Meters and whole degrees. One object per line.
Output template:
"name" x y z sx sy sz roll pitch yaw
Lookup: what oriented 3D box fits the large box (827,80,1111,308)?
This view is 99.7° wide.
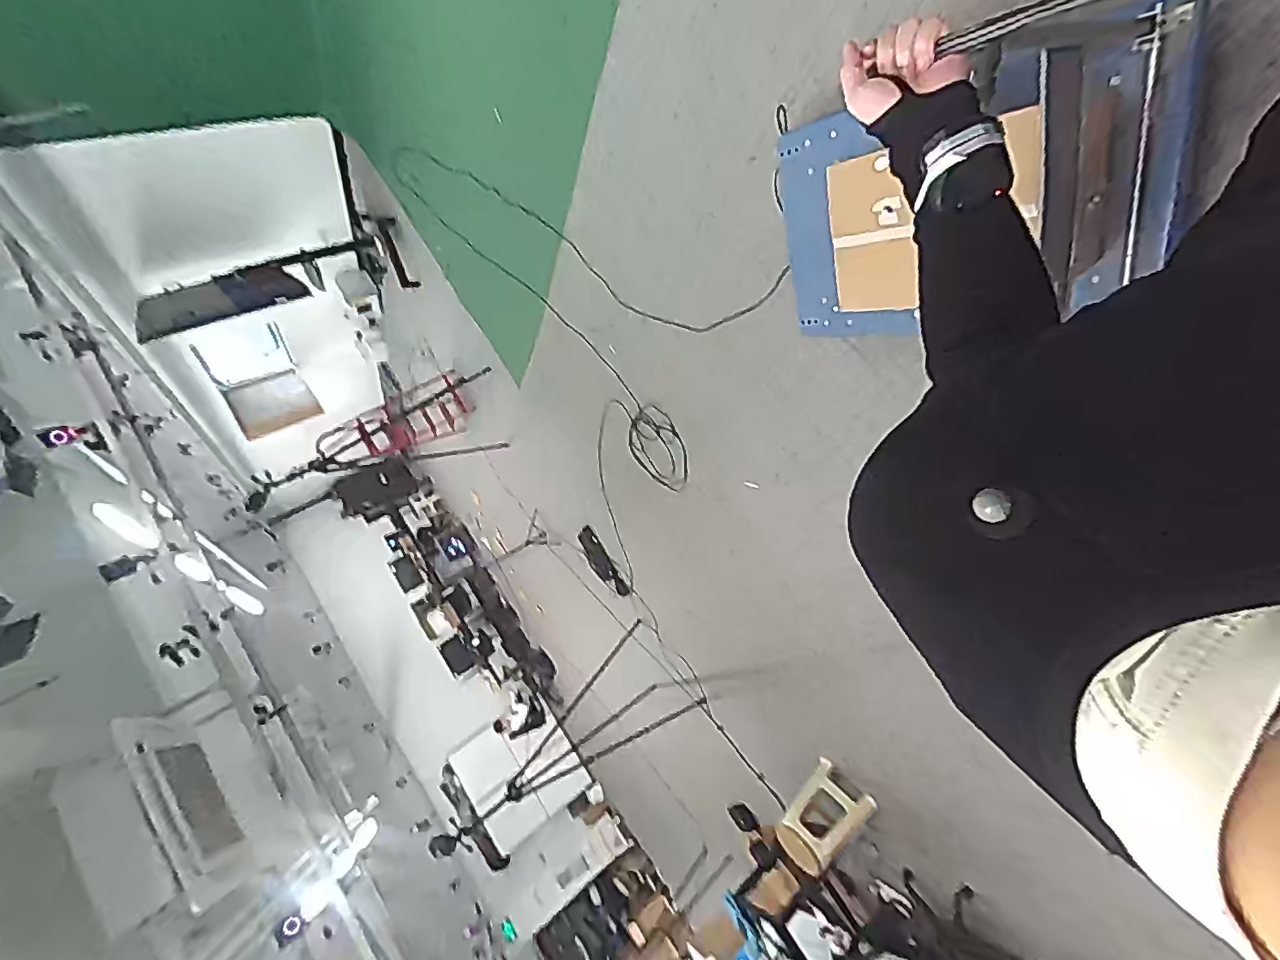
"large box" 0.667 -0.567 1.123 0.408 0.320 0.320 19 131 52
